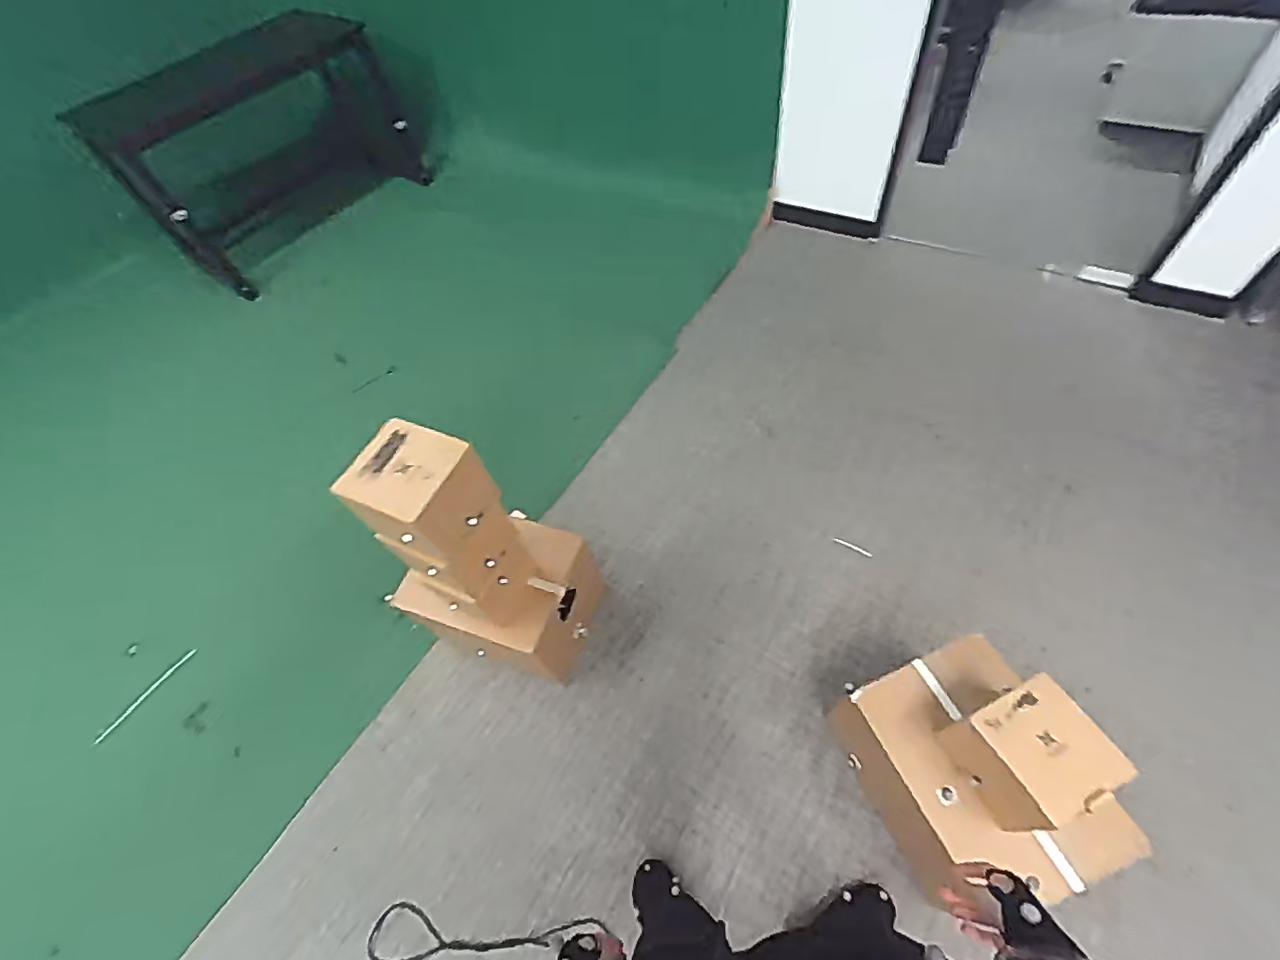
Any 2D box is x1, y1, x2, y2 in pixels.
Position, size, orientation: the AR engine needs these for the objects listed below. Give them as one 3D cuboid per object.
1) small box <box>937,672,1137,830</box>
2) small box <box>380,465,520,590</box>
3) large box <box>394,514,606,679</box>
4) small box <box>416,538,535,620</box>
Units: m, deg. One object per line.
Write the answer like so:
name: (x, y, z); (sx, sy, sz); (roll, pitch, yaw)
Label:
small box: (0.652, 0.458, 0.914); (0.168, 0.176, 0.179); (-24, 58, -10)
small box: (-0.374, 0.101, 1.098); (0.179, 0.176, 0.168); (20, 62, 19)
large box: (-0.347, 0.298, 1.456); (0.408, 0.320, 0.320); (13, 58, 17)
small box: (-0.362, 0.194, 1.230); (0.168, 0.176, 0.179); (19, 62, 18)
